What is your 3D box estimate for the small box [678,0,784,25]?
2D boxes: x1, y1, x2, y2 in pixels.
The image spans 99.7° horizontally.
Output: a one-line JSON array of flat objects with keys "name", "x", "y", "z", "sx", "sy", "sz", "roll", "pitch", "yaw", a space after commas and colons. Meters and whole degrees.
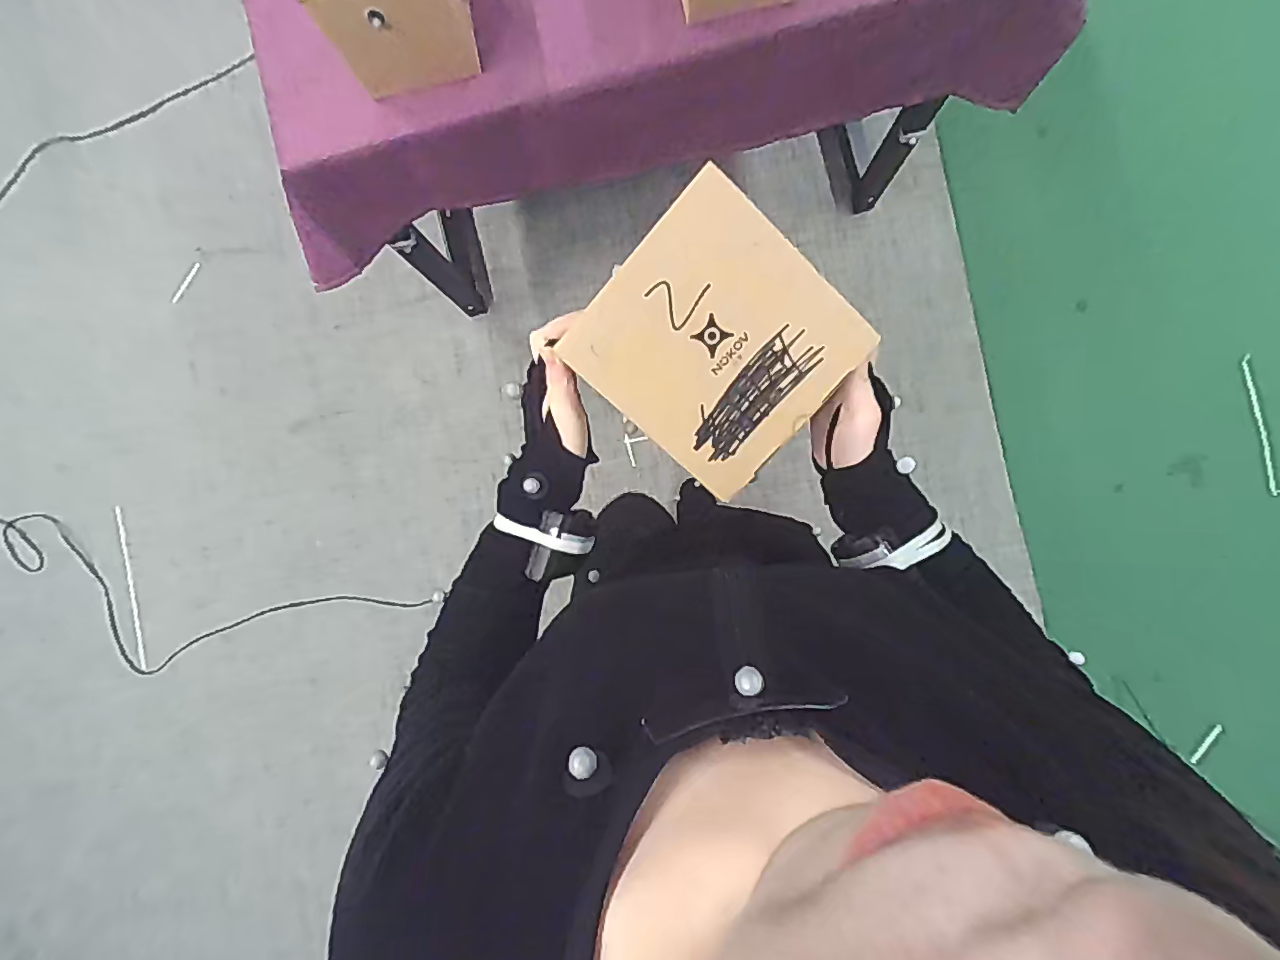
[{"name": "small box", "x": 0.130, "y": -0.768, "z": 0.721, "sx": 0.179, "sy": 0.176, "sz": 0.168, "roll": -11, "pitch": 87, "yaw": 4}]

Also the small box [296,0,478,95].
[{"name": "small box", "x": -0.347, "y": -0.676, "z": 0.745, "sx": 0.179, "sy": 0.176, "sz": 0.168, "roll": -10, "pitch": 87, "yaw": 3}]
